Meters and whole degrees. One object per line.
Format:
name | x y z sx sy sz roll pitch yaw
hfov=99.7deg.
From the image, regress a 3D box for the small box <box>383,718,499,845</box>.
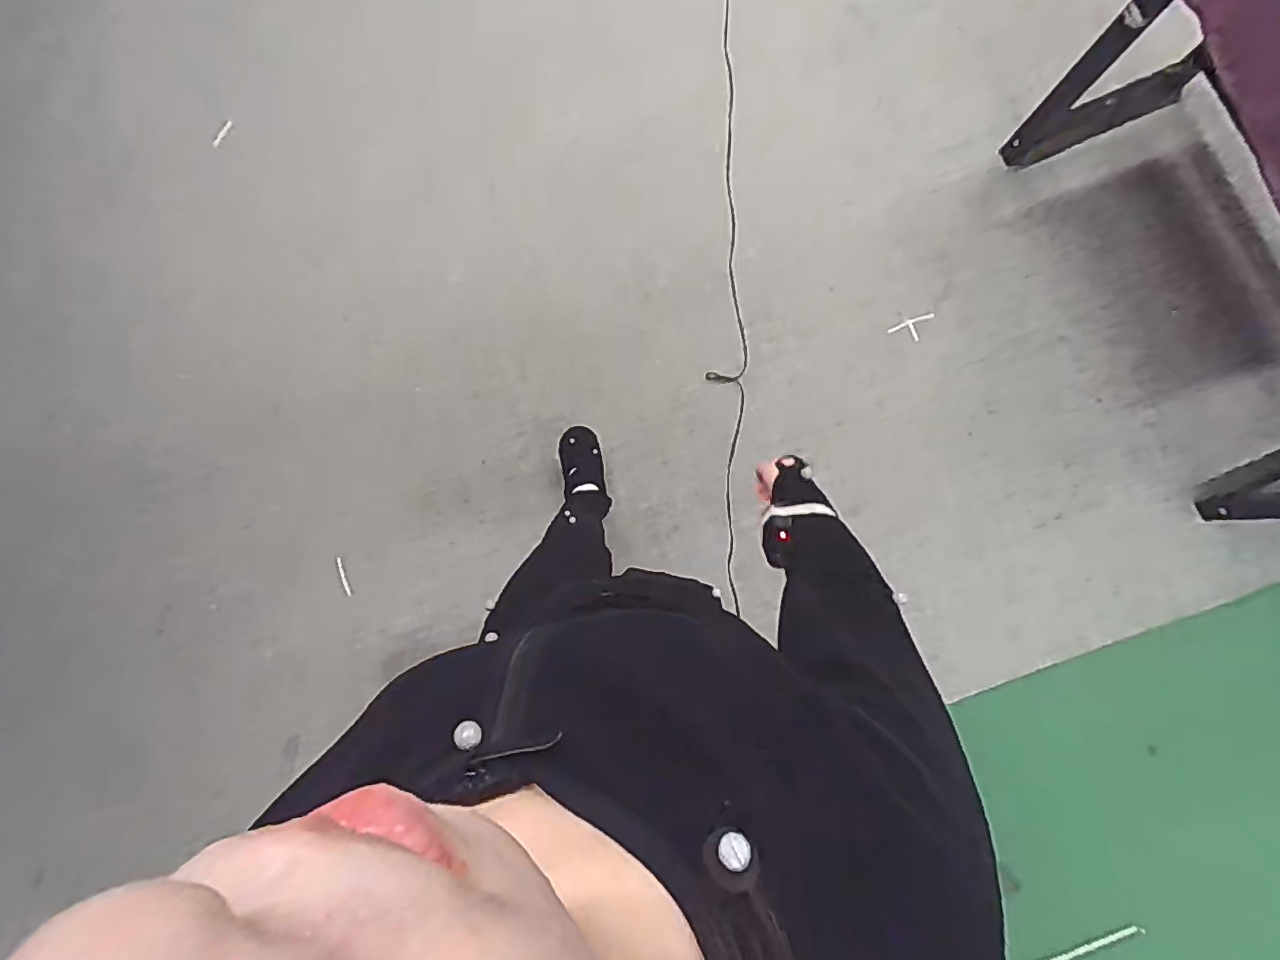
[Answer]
small box | -0.415 0.637 1.164 0.179 0.176 0.168 -14 84 1
